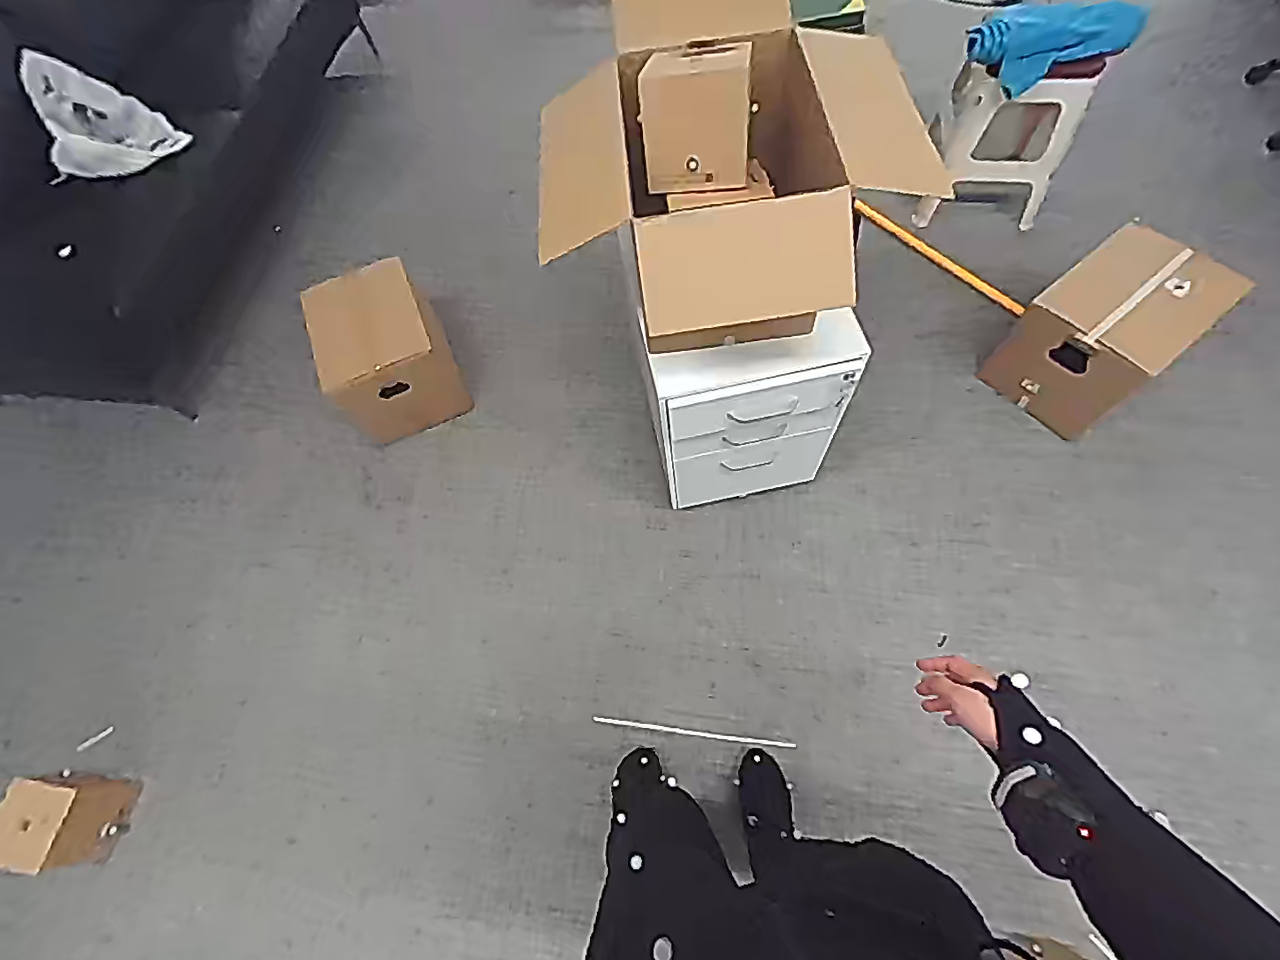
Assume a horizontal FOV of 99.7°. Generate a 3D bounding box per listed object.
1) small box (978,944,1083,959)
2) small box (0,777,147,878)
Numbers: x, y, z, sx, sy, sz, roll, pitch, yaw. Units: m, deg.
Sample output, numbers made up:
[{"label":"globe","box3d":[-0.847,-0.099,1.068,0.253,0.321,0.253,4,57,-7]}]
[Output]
[{"label":"small box","box3d":[0.735,0.953,0.954,0.168,0.176,0.179,-4,65,5]},{"label":"small box","box3d":[-1.345,0.808,1.275,0.179,0.176,0.168,5,67,7]}]
